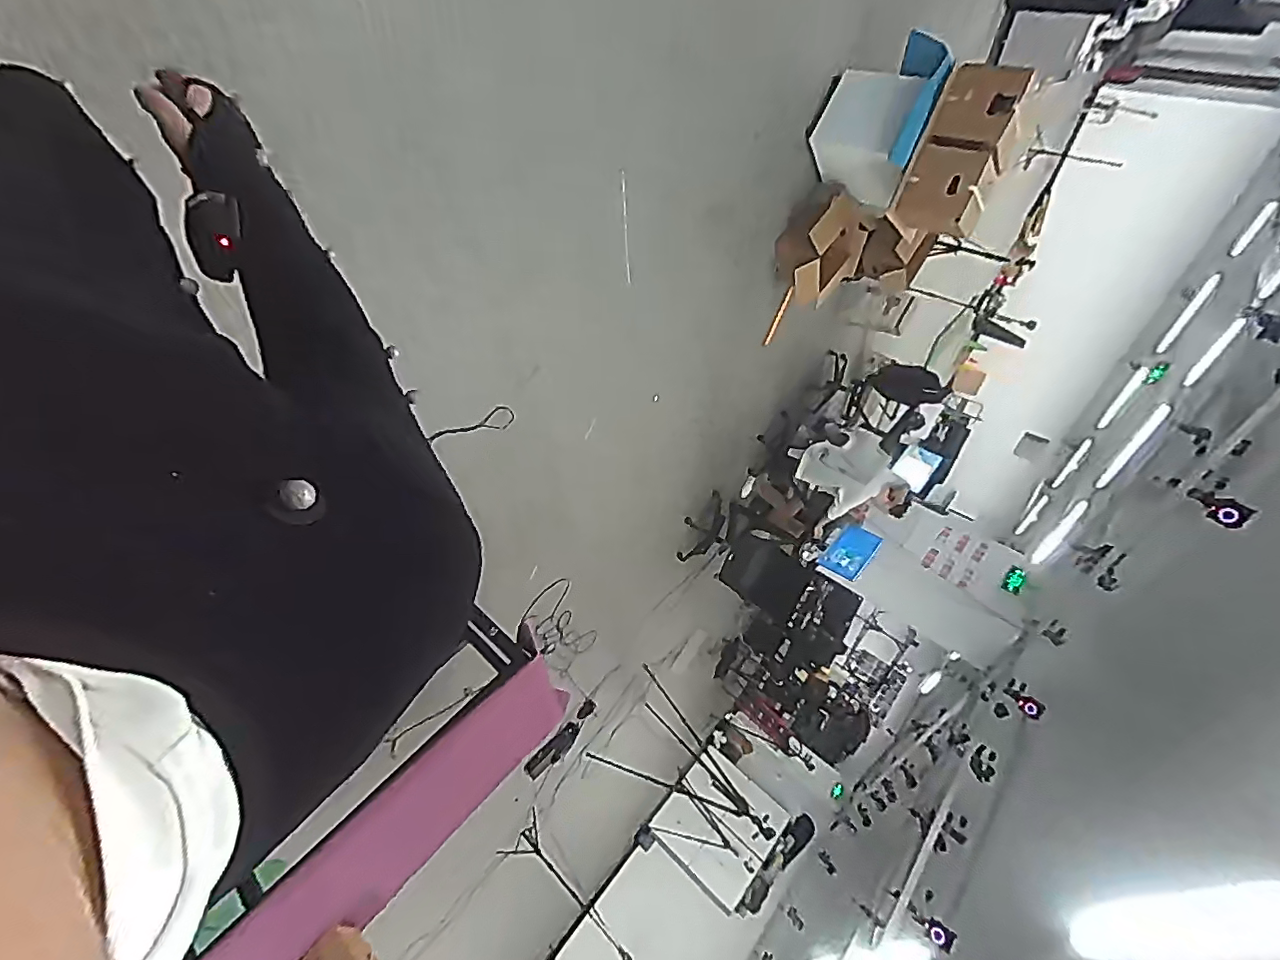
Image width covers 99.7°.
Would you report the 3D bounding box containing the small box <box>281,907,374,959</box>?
[{"bbox_3d":[-0.999,1.517,1.734,0.168,0.176,0.179,-42,148,-29],"label":"small box"}]
